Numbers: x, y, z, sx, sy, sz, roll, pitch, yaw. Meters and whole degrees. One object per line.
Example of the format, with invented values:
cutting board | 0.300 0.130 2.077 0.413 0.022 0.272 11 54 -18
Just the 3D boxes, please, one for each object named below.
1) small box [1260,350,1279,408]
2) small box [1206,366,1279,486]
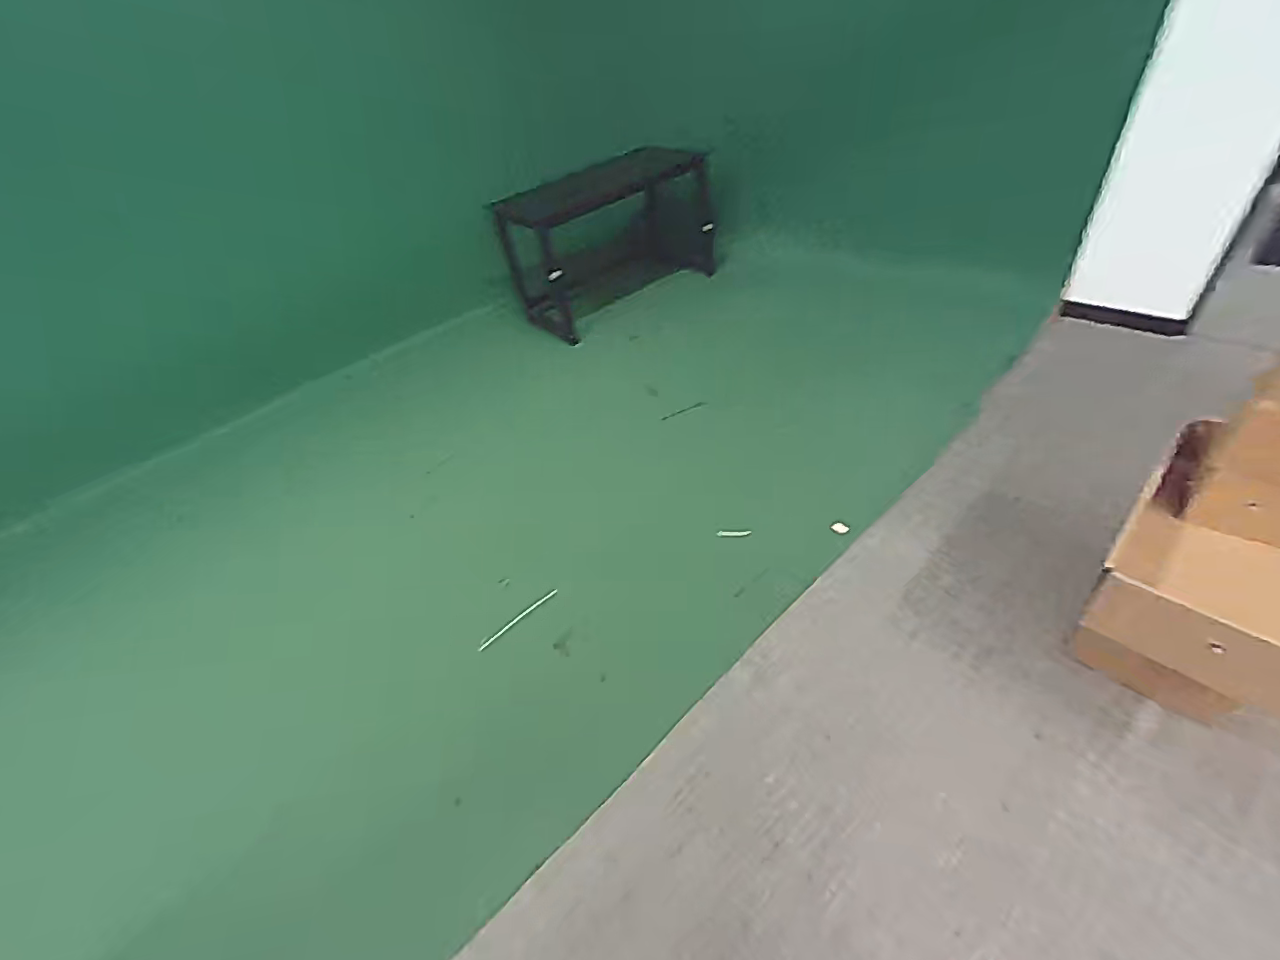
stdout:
small box | 1.300 -0.225 0.987 0.168 0.176 0.179 27 56 38
small box | 1.317 -0.102 1.095 0.179 0.176 0.168 25 54 36
